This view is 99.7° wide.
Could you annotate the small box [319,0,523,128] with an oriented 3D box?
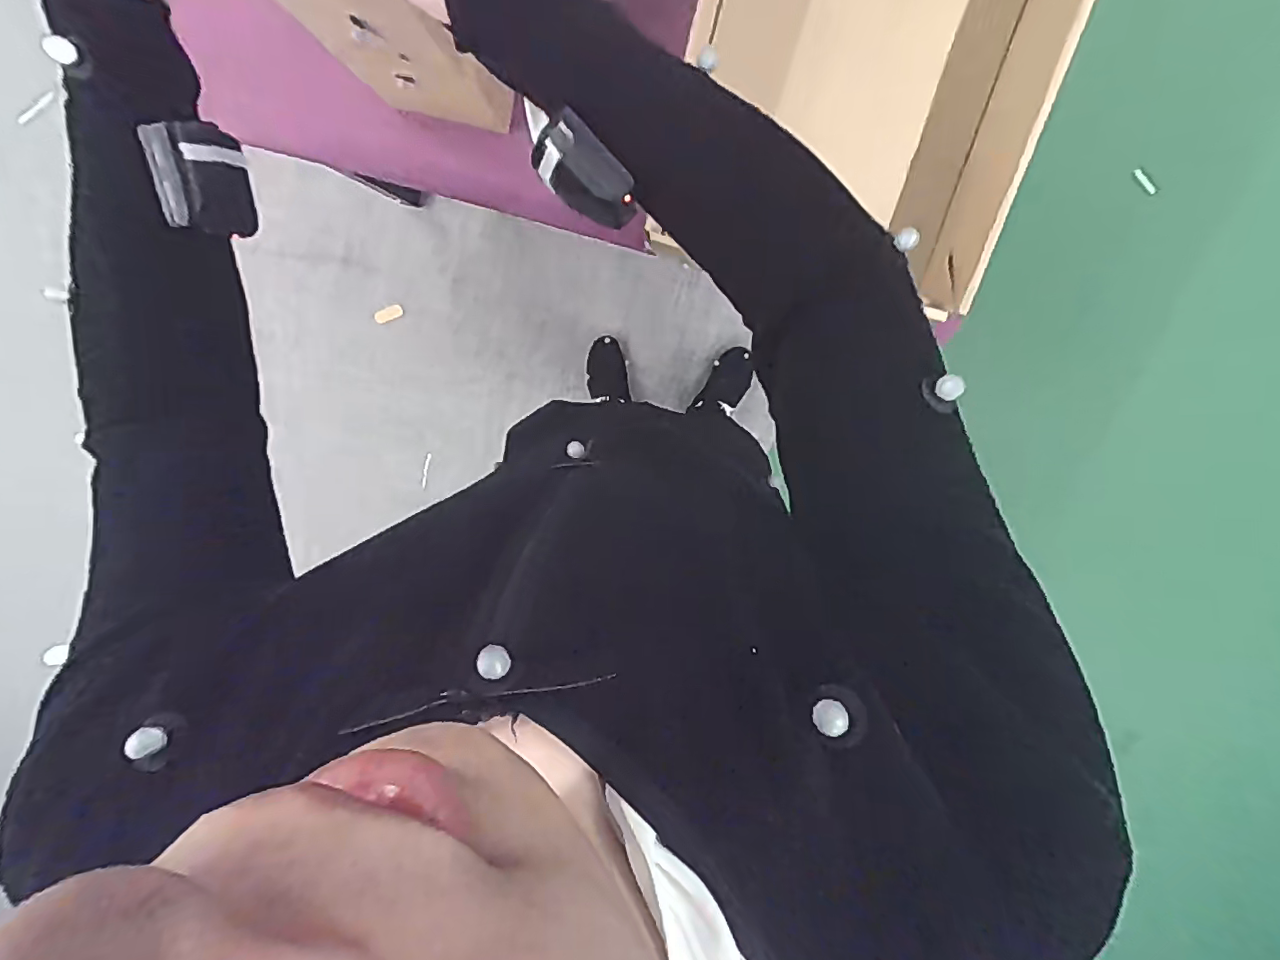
[{"bbox_3d":[-0.262,-0.574,0.676,0.179,0.176,0.168,12,104,-1],"label":"small box"}]
